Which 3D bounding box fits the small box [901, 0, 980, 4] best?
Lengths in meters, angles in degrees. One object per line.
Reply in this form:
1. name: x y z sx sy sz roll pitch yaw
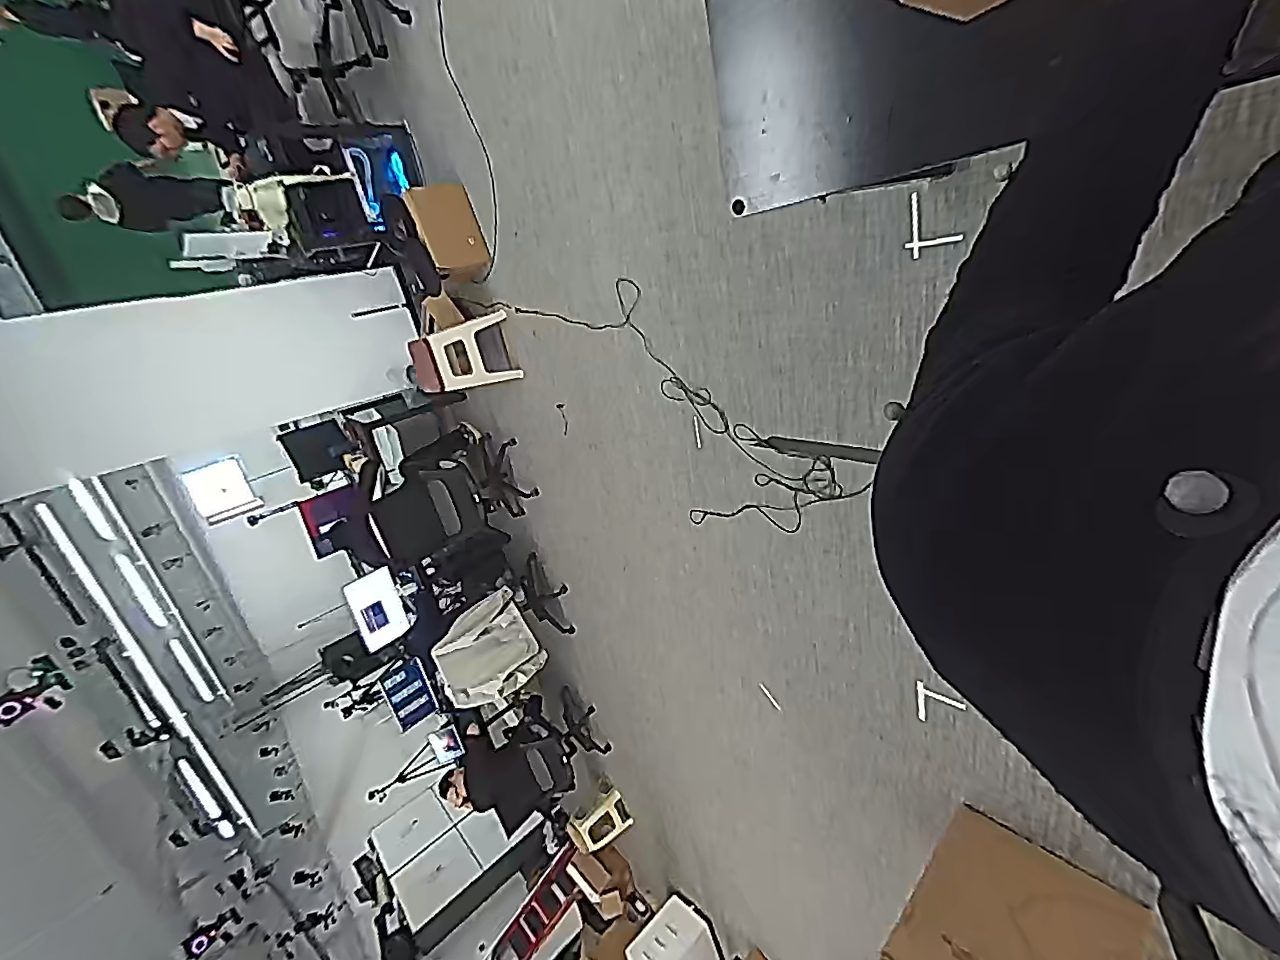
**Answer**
1. small box: 0.329 -0.550 0.460 0.168 0.176 0.179 7 118 50
